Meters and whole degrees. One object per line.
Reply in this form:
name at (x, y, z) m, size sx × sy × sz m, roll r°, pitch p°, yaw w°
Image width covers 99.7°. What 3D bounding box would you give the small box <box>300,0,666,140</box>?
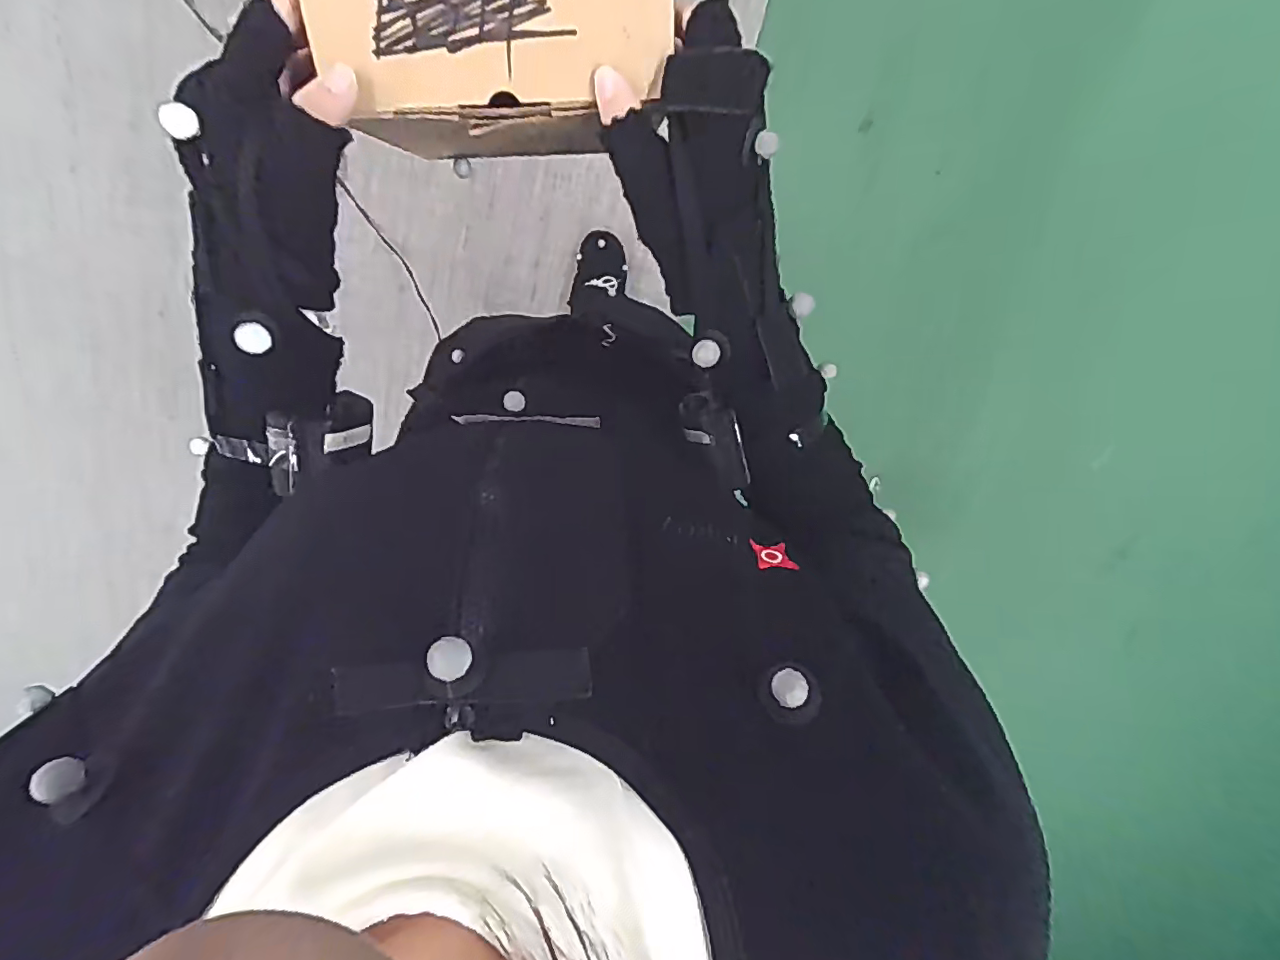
small box at (-0.075, -0.295, 0.292) m, size 0.168 × 0.176 × 0.179 m, roll -4°, pitch 114°, yaw -3°
